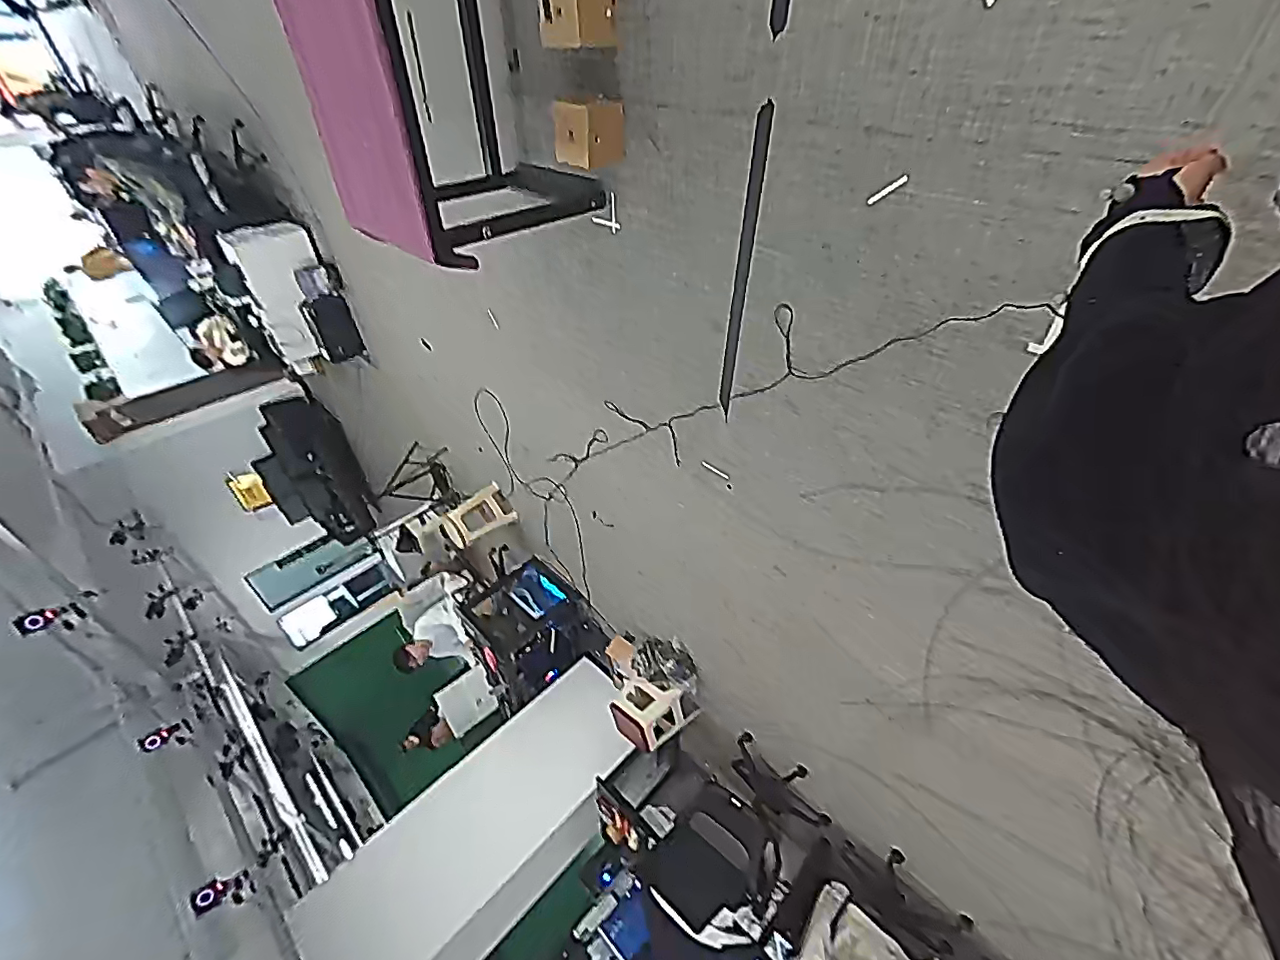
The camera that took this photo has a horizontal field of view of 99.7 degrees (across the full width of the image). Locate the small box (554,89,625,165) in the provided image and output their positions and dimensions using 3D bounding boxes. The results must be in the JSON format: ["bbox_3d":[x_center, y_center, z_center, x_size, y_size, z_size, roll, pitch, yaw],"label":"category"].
[{"bbox_3d":[-0.164,-1.176,1.797,0.168,0.176,0.179,34,141,29],"label":"small box"}]

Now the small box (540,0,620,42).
[{"bbox_3d":[-0.178,-1.411,1.602,0.179,0.176,0.168,32,141,31],"label":"small box"}]
